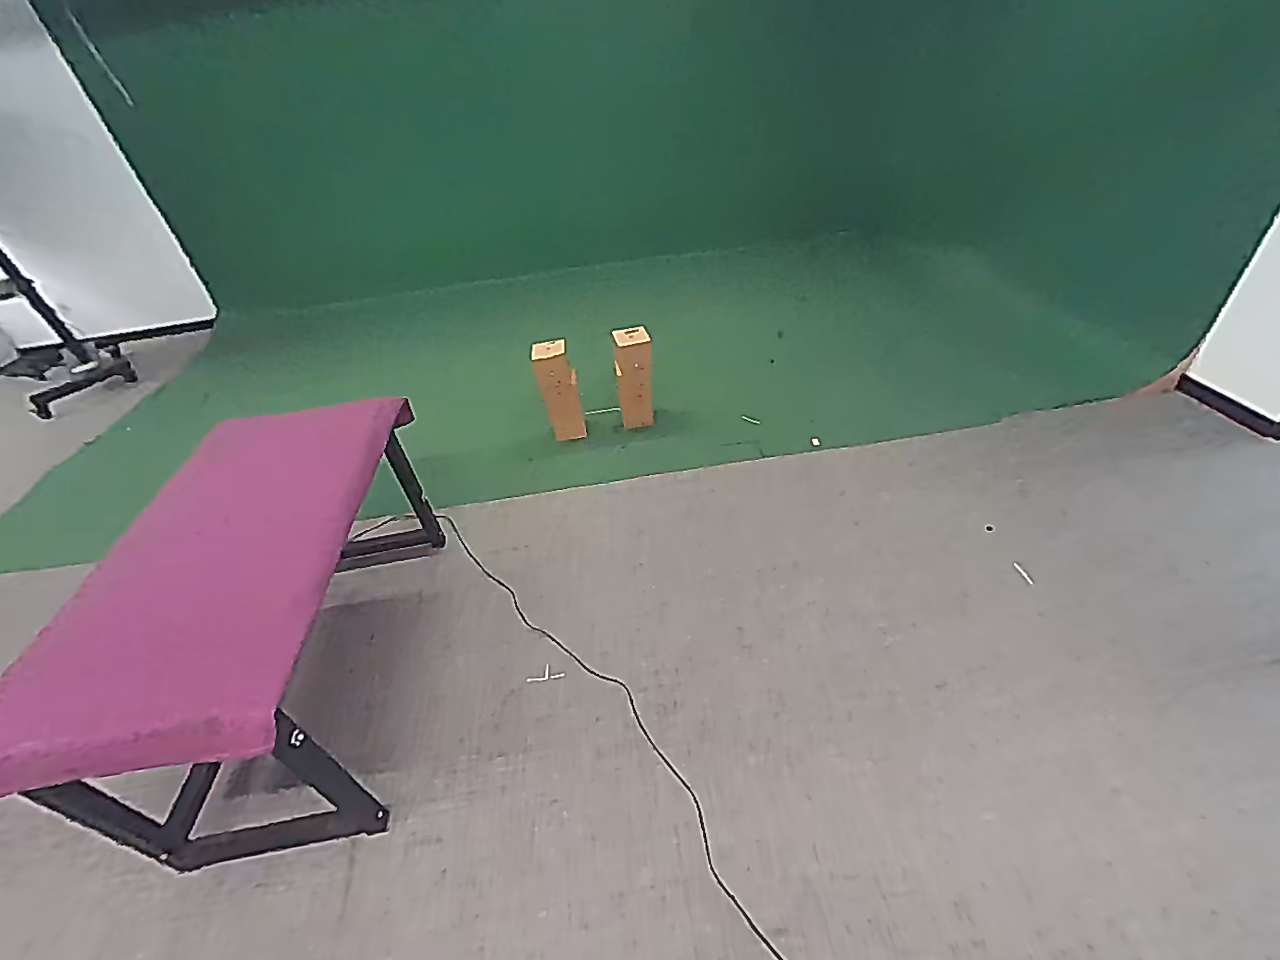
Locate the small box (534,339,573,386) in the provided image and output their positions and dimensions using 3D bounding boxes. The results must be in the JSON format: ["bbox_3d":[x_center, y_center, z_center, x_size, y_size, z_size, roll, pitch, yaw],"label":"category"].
[{"bbox_3d":[-0.436,-0.590,2.741,0.168,0.176,0.179,-10,40,0],"label":"small box"}]

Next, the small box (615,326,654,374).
[{"bbox_3d":[-0.028,-0.661,2.756,0.168,0.176,0.179,-12,42,-6],"label":"small box"}]

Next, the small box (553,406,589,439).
[{"bbox_3d":[-0.375,-0.335,2.941,0.168,0.176,0.179,-10,39,-2],"label":"small box"}]

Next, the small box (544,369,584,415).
[{"bbox_3d":[-0.396,-0.458,2.834,0.179,0.176,0.168,-10,39,-2],"label":"small box"}]

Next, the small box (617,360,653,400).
[{"bbox_3d":[-0.027,-0.534,2.860,0.168,0.176,0.179,-8,40,-2],"label":"small box"}]
